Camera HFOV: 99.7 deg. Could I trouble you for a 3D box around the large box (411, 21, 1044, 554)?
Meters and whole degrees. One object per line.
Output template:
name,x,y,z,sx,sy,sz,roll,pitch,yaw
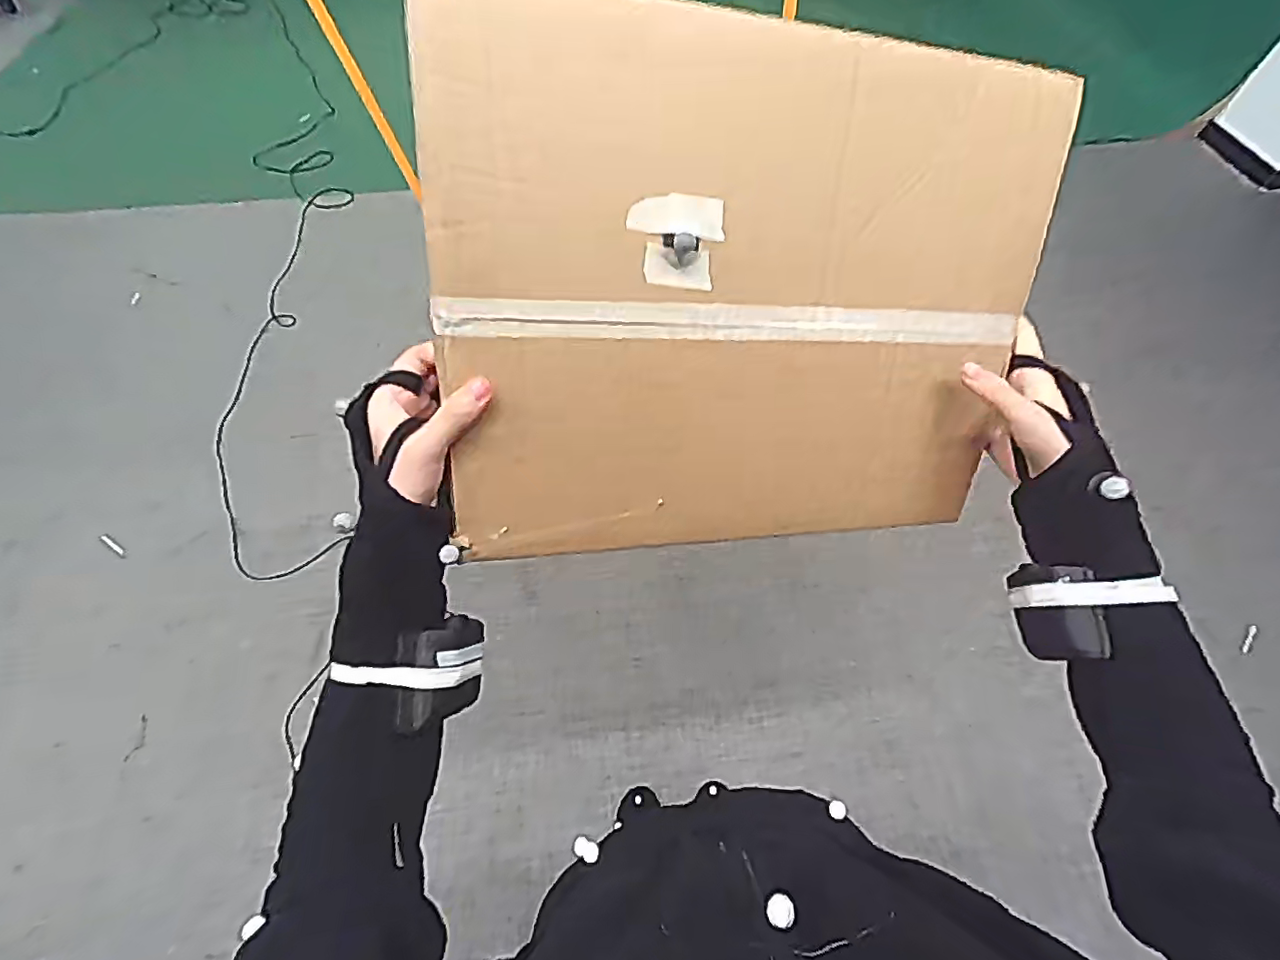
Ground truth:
large box,0.040,-0.158,0.503,0.408,0.320,0.320,-4,21,-13
